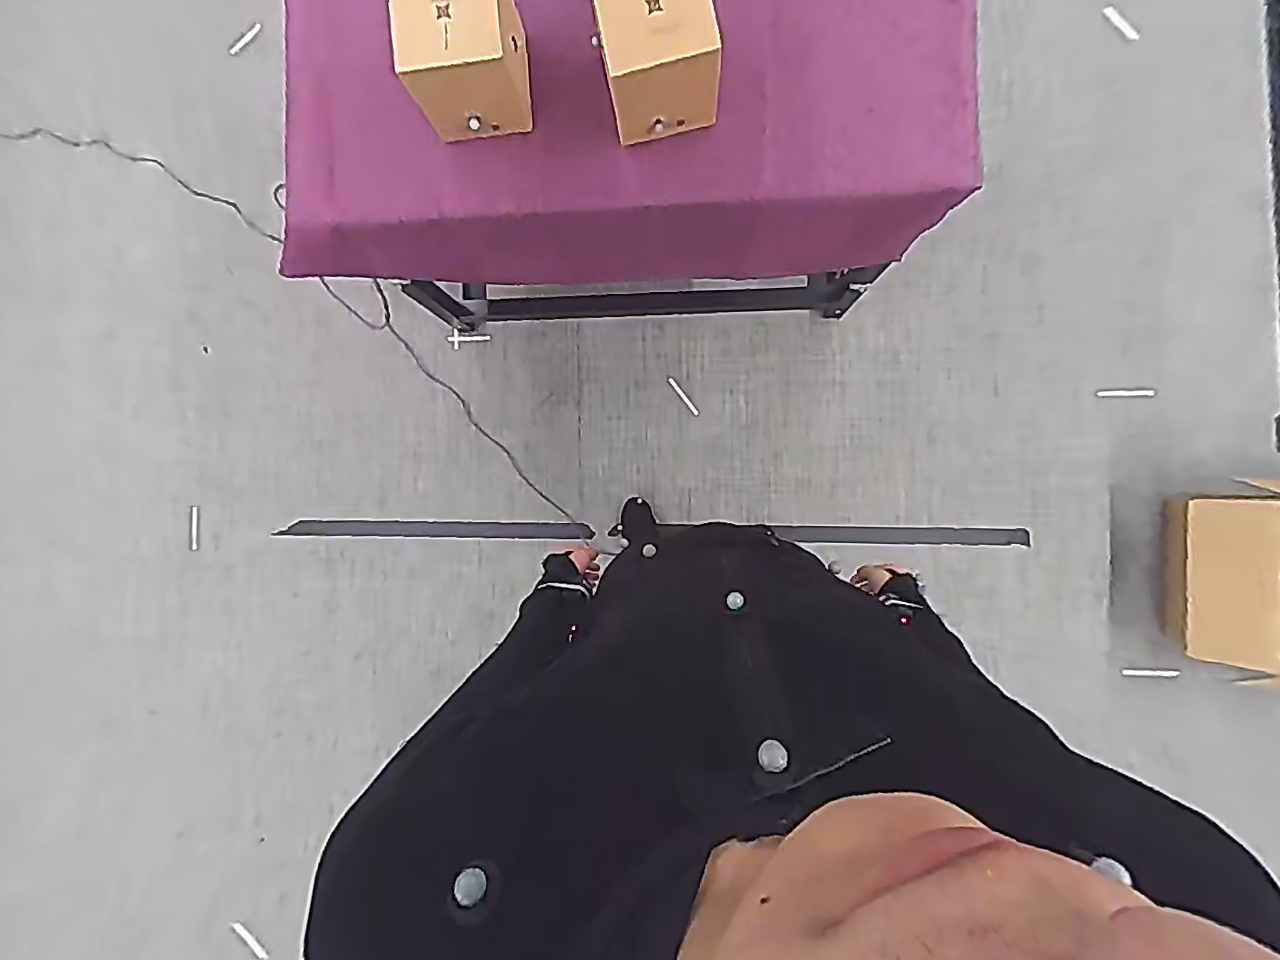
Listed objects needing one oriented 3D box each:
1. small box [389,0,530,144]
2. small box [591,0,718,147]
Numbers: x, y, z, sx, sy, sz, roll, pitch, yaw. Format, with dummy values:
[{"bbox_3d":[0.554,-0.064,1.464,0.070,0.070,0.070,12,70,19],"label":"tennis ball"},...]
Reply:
[{"bbox_3d":[-0.284,-0.689,0.876,0.168,0.176,0.179,-5,89,4],"label":"small box"},{"bbox_3d":[0.021,-0.676,0.855,0.168,0.176,0.179,-12,88,4],"label":"small box"}]
